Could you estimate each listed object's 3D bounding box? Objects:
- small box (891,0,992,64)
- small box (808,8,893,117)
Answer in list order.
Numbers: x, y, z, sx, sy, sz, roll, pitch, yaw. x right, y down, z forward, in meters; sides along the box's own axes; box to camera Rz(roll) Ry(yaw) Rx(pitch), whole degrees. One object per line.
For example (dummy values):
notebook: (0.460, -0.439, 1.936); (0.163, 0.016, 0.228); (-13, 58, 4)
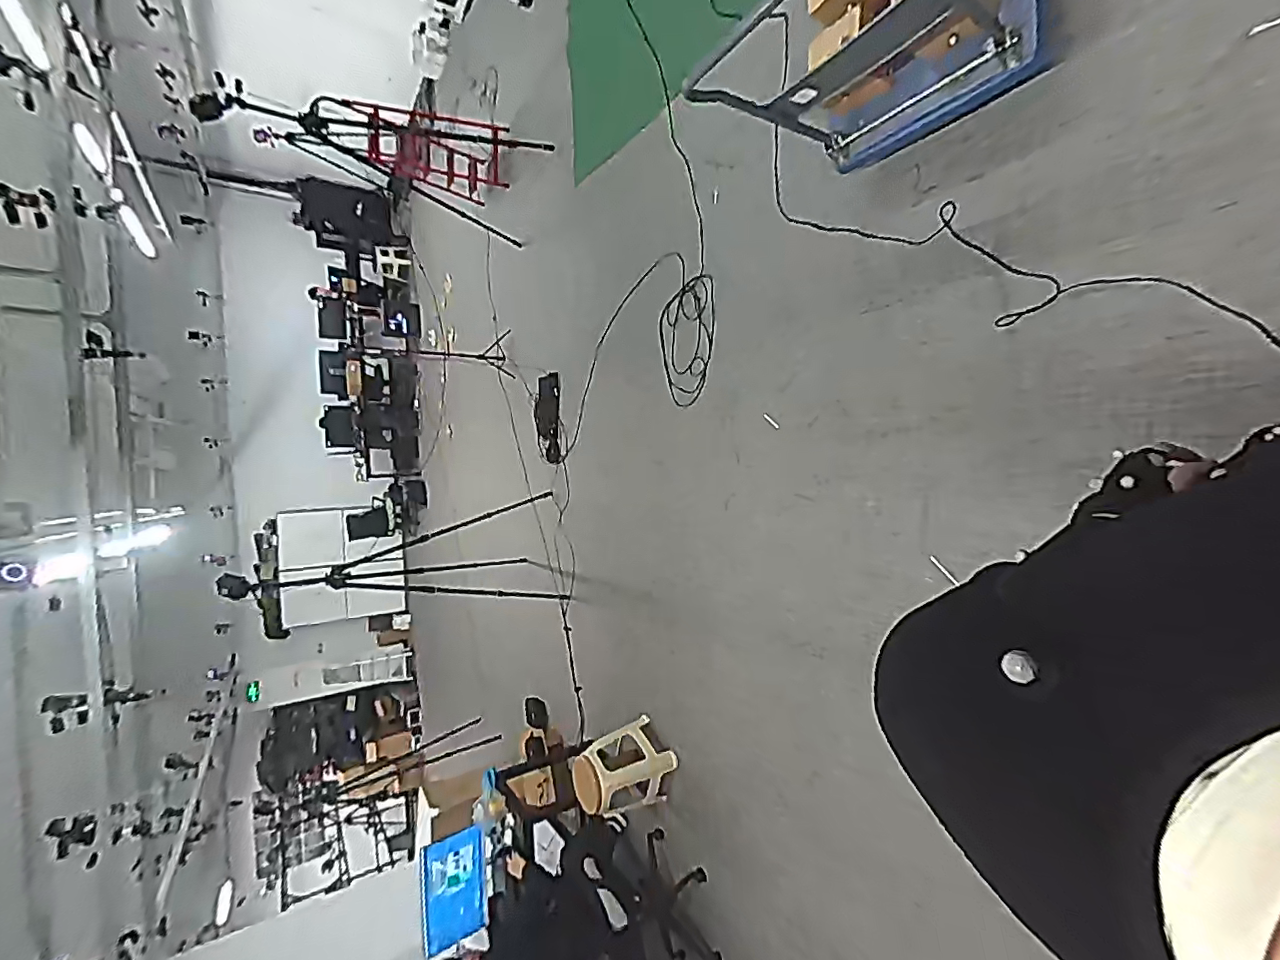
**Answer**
small box: (0.762, -1.210, 1.363); (0.179, 0.176, 0.168); (-4, 90, 56)
small box: (0.617, -1.211, 1.582); (0.179, 0.176, 0.168); (5, 97, 57)
